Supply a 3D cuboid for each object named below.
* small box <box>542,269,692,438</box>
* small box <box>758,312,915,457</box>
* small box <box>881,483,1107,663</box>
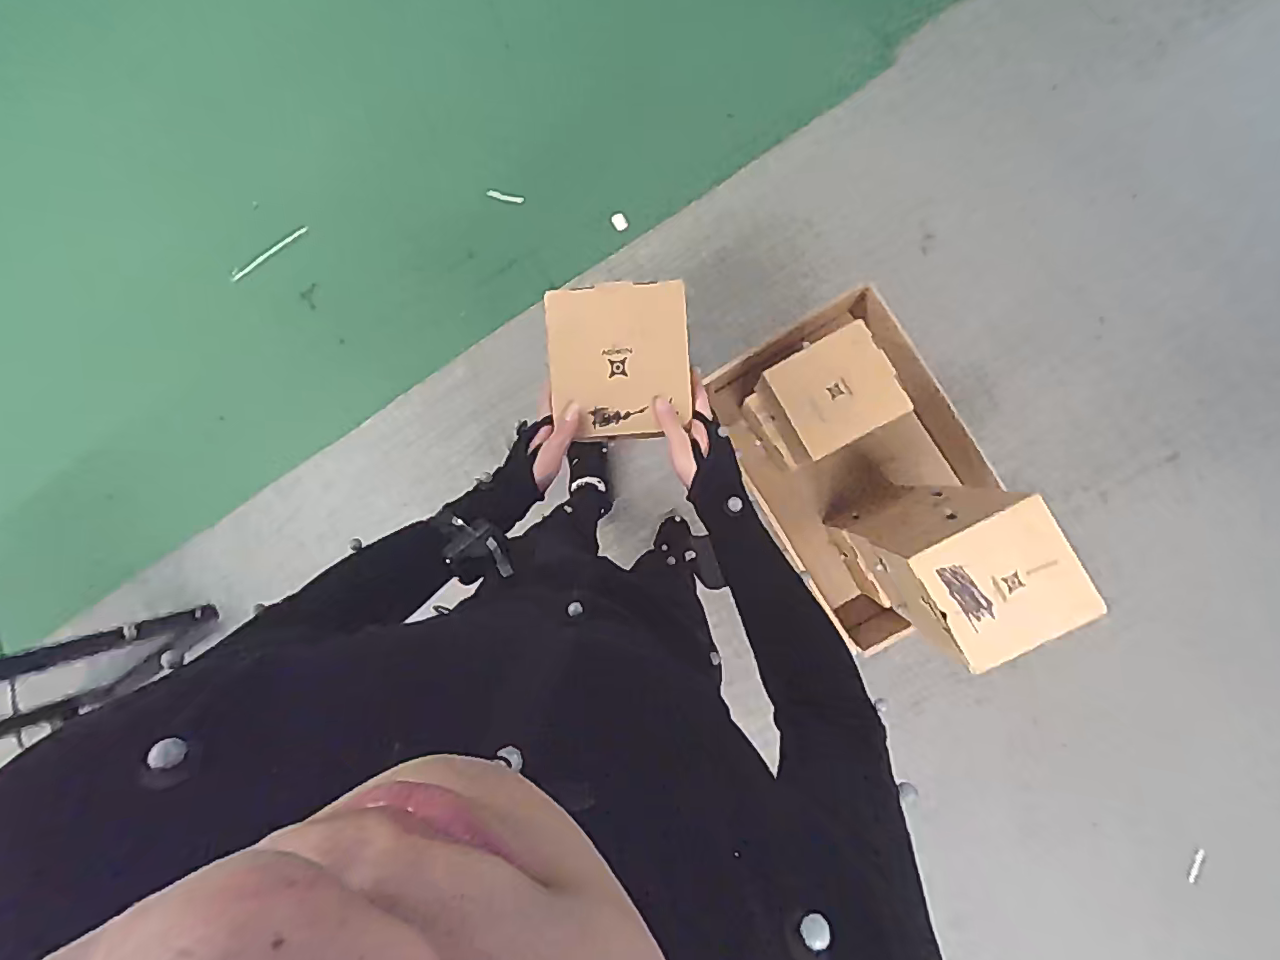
[{"bbox_3d":[-0.024,-0.151,0.701,0.168,0.176,0.179,-5,92,4],"label":"small box"},{"bbox_3d":[0.319,-0.151,0.918,0.179,0.176,0.168,-28,86,6],"label":"small box"},{"bbox_3d":[0.454,0.115,0.735,0.179,0.176,0.168,-29,88,6],"label":"small box"}]
